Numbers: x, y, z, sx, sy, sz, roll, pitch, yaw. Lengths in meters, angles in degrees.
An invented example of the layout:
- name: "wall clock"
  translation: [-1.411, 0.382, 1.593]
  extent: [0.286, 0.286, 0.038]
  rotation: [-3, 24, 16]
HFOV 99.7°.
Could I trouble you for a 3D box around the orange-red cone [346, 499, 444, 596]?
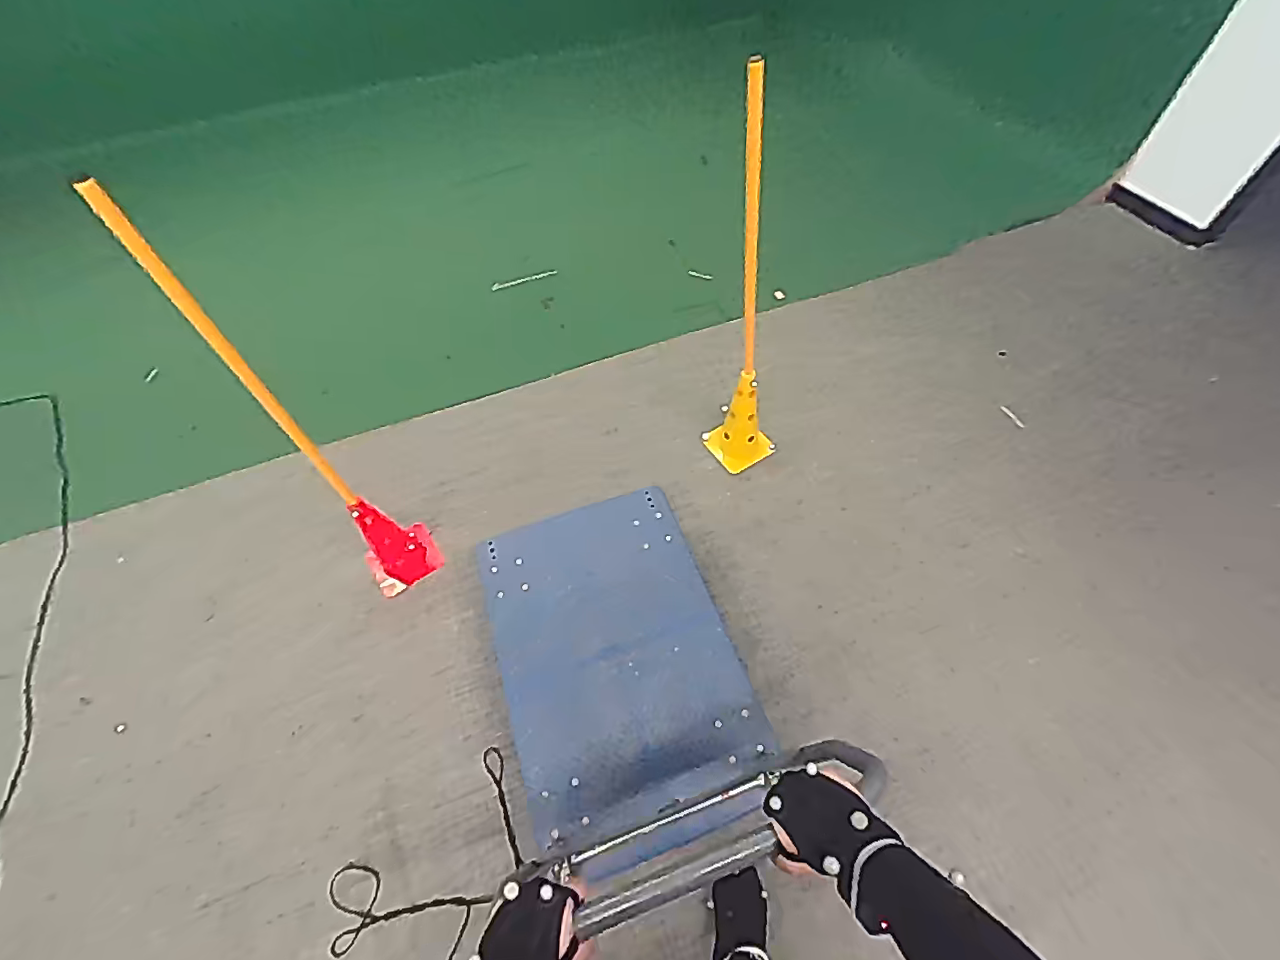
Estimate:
- name: "orange-red cone"
  translation: [-0.759, 0.163, 1.594]
  extent: [0.199, 0.360, 0.198]
  rotation: [-33, 60, -16]
